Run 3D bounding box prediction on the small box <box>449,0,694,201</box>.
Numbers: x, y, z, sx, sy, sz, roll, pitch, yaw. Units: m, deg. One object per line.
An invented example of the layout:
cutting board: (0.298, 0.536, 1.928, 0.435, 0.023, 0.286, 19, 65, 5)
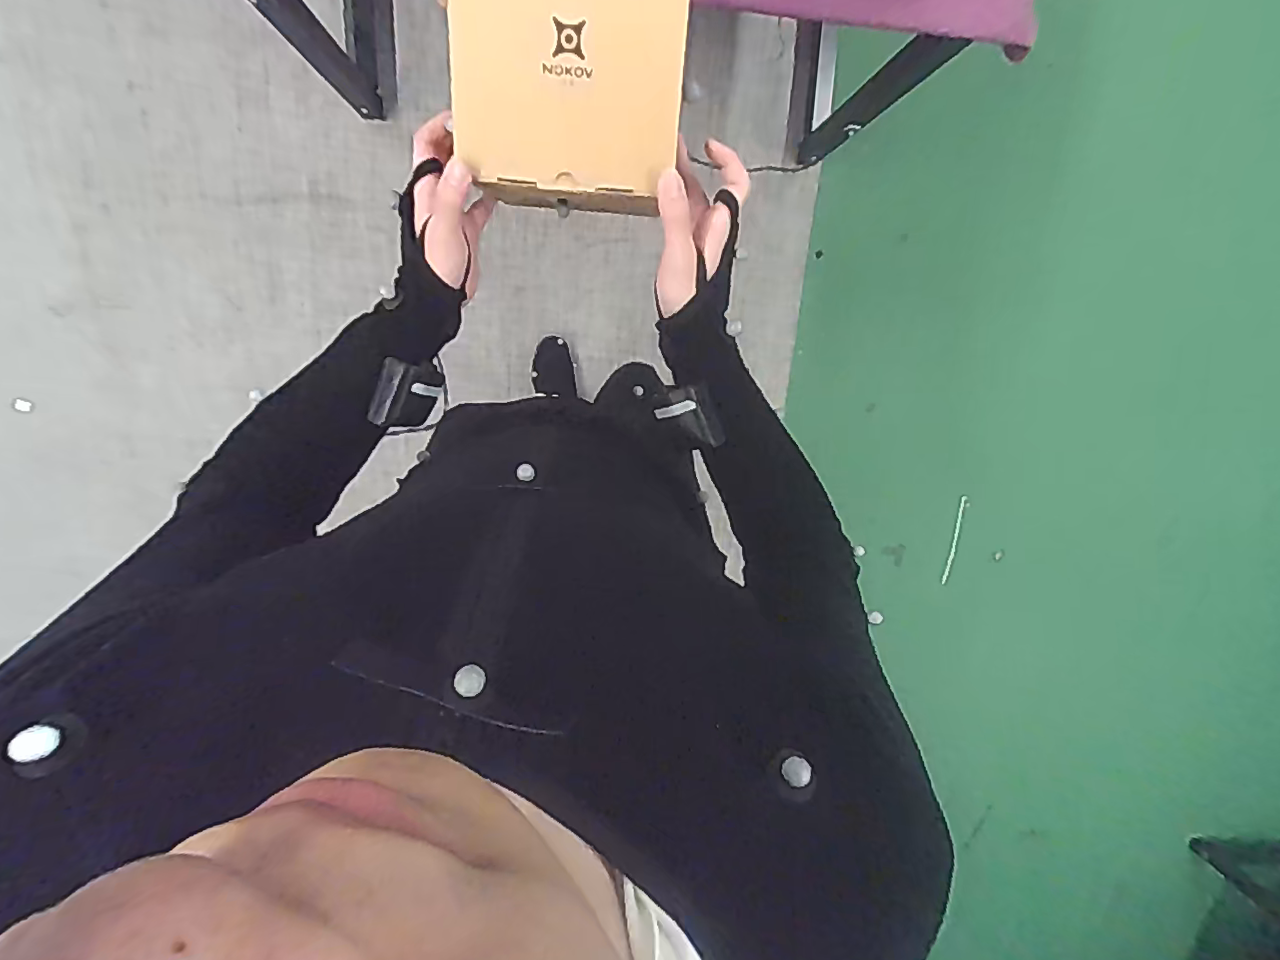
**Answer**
small box: (-0.051, -0.339, 0.441, 0.168, 0.176, 0.179, 3, 113, -4)
